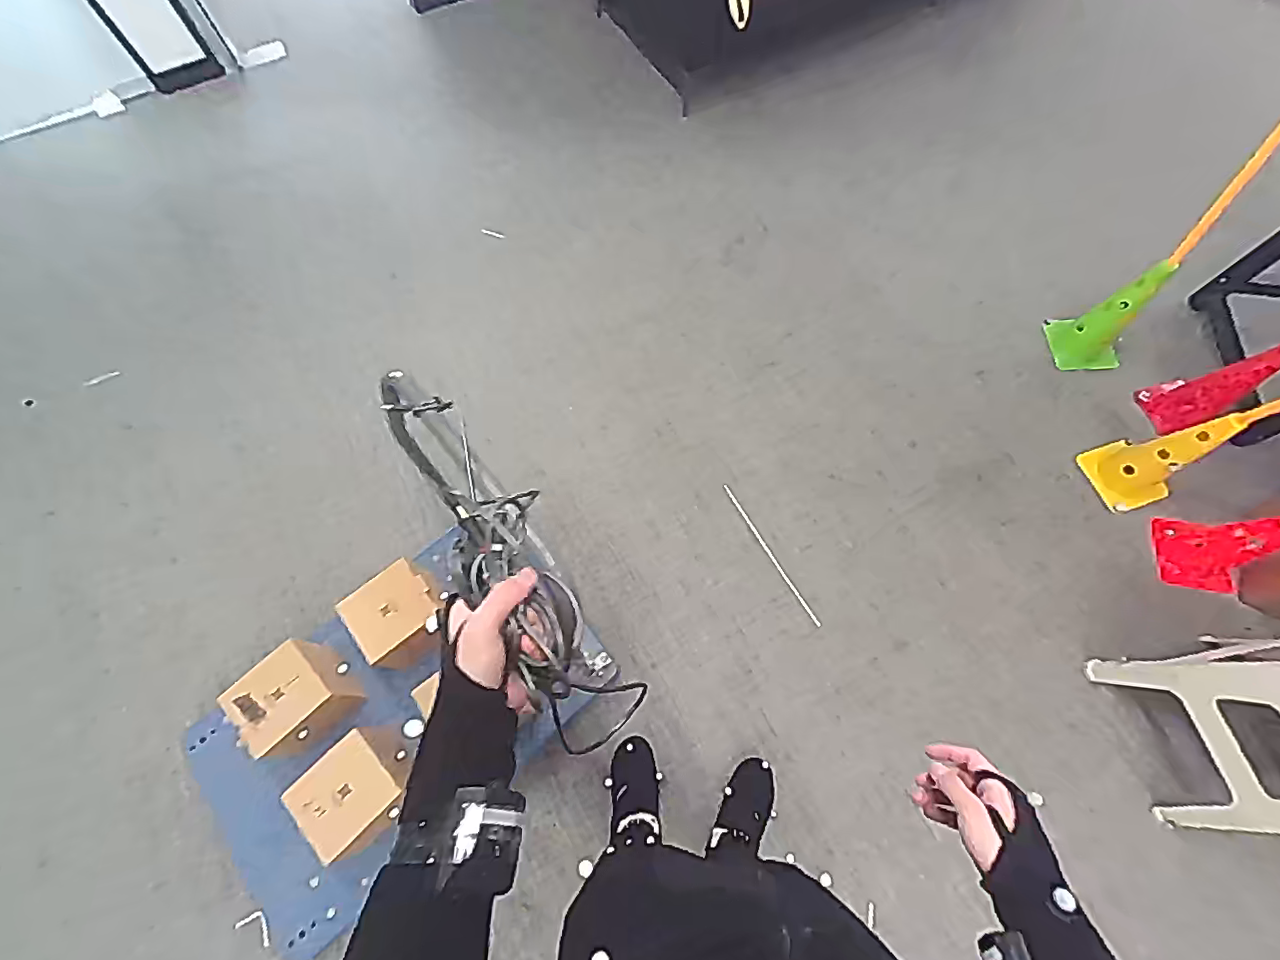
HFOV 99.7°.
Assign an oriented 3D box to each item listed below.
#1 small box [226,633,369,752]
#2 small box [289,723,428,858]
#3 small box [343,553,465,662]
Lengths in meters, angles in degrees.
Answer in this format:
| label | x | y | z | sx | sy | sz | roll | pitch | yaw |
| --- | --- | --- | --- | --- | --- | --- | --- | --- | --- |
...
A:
| label | x | y | z | sx | sy | sz | roll | pitch | yaw |
| --- | --- | --- | --- | --- | --- | --- | --- | --- | --- |
| small box | -0.748 | 0.471 | 1.200 | 0.179 | 0.176 | 0.168 | -42 | 73 | -16 |
| small box | -0.570 | 0.632 | 1.128 | 0.179 | 0.176 | 0.168 | -43 | 72 | -15 |
| small box | -0.544 | 0.306 | 1.269 | 0.179 | 0.176 | 0.168 | -38 | 71 | -15 |
